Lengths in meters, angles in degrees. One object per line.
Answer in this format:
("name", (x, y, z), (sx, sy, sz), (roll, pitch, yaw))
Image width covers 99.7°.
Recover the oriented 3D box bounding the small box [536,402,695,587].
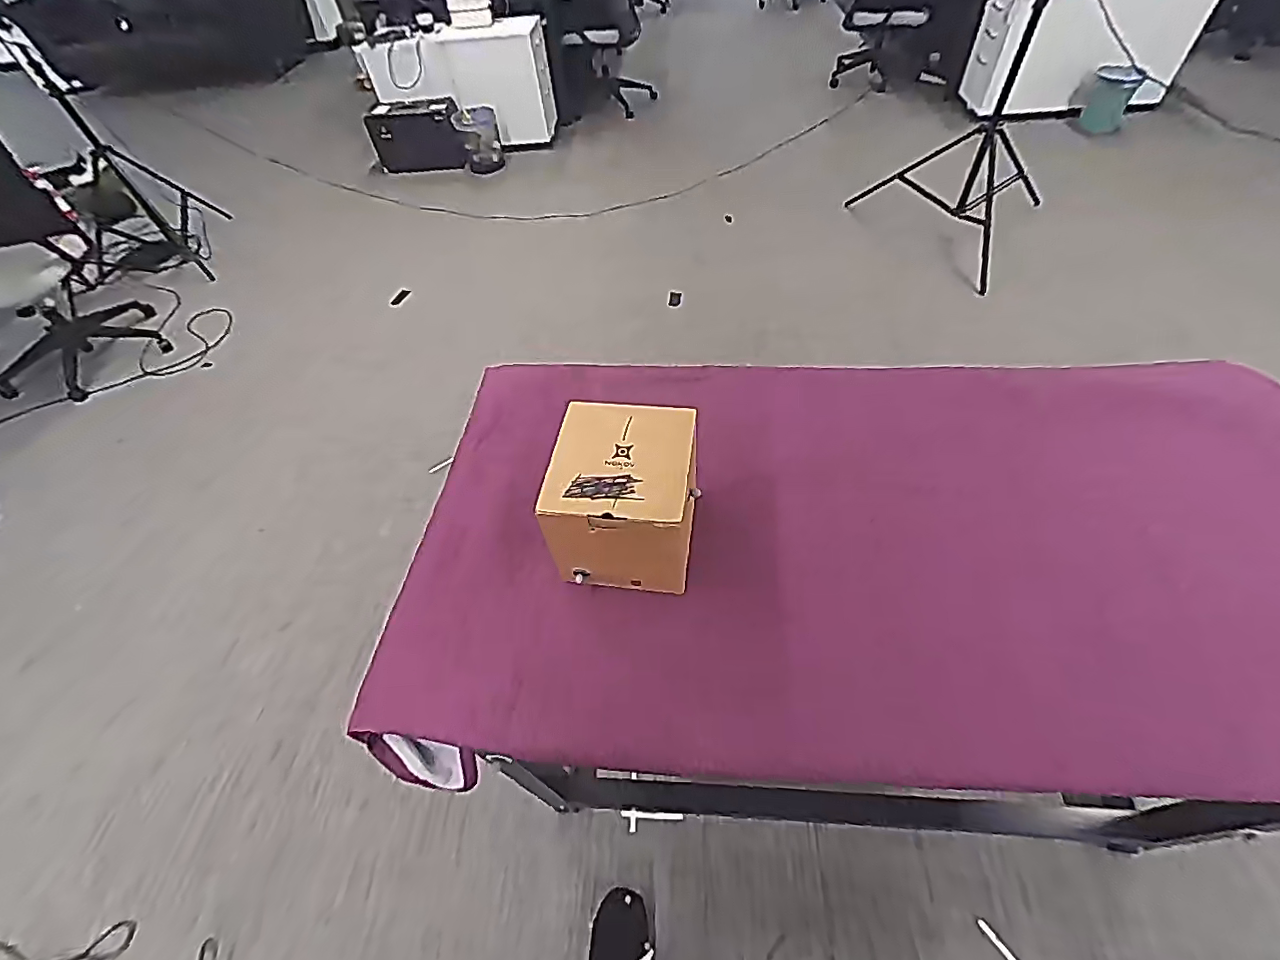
("small box", (-0.018, 0.022, 0.702), (0.168, 0.176, 0.179), (5, 52, 8))
